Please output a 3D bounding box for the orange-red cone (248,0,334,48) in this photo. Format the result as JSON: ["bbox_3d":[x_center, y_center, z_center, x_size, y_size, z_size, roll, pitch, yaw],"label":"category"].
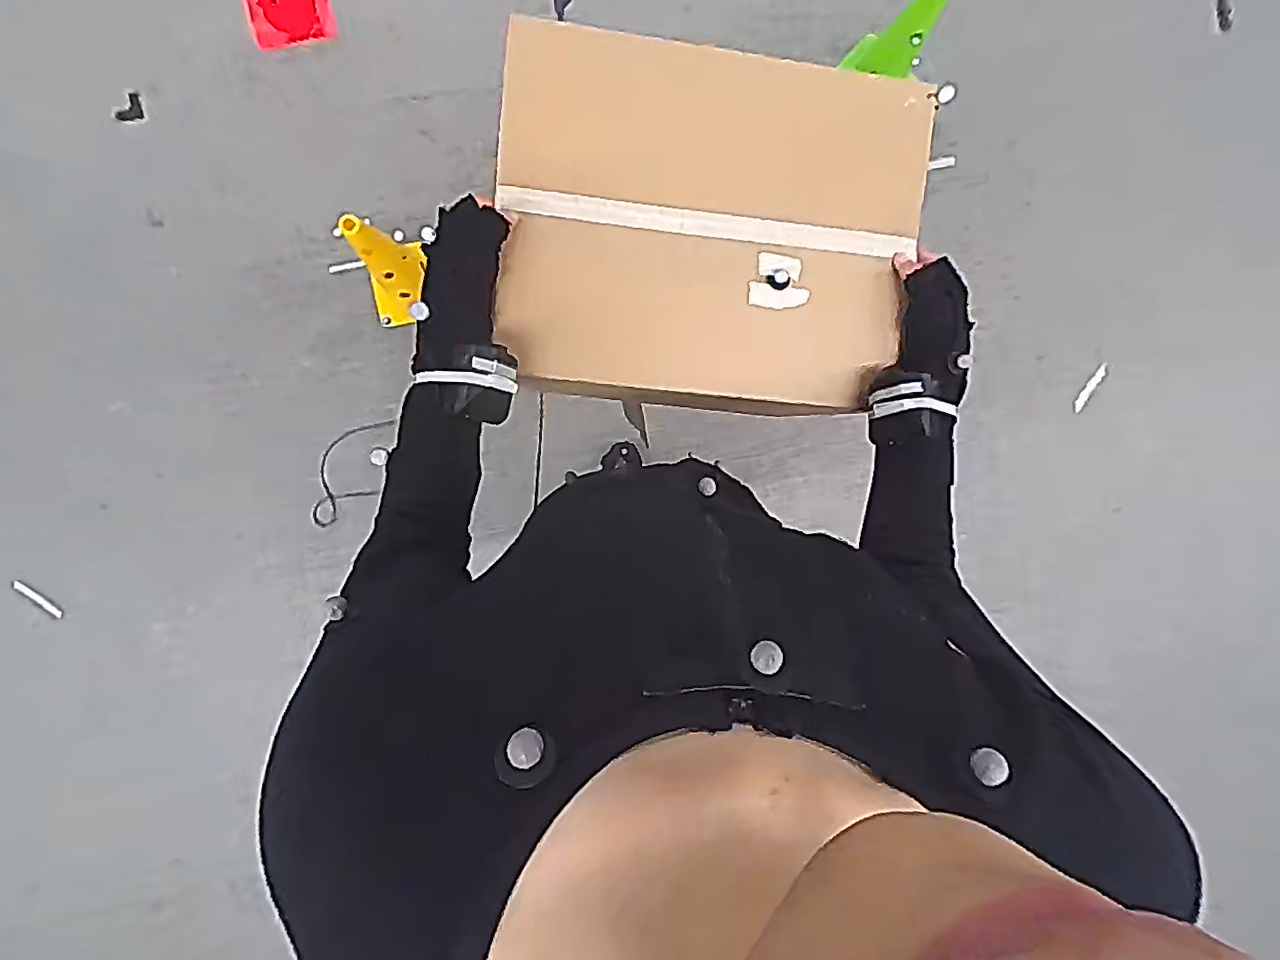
[{"bbox_3d":[-0.880,-1.196,1.197,0.198,0.360,0.199,-13,95,-2],"label":"orange-red cone"}]

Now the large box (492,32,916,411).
[{"bbox_3d":[0.049,-0.257,0.666,0.408,0.320,0.320,4,96,-6],"label":"large box"}]

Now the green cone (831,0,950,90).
[{"bbox_3d":[0.649,-1.074,1.298,0.200,0.368,0.202,42,88,-5],"label":"green cone"}]
